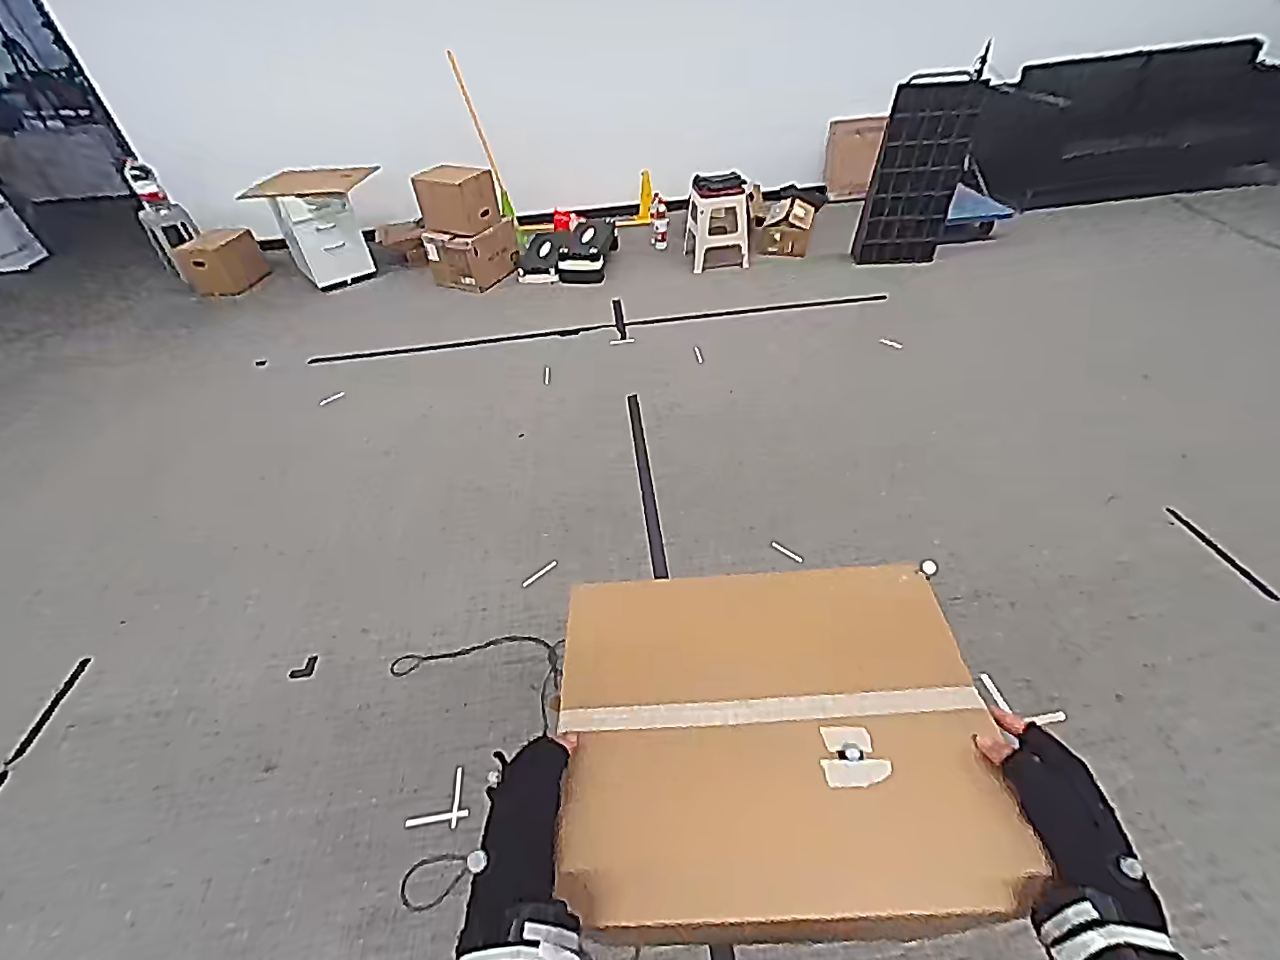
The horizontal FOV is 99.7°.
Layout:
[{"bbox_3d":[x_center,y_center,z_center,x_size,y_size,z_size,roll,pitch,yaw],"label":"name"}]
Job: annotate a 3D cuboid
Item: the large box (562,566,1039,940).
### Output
[{"bbox_3d":[0.133,0.332,0.652,0.408,0.320,0.320,-4,48,2],"label":"large box"}]
